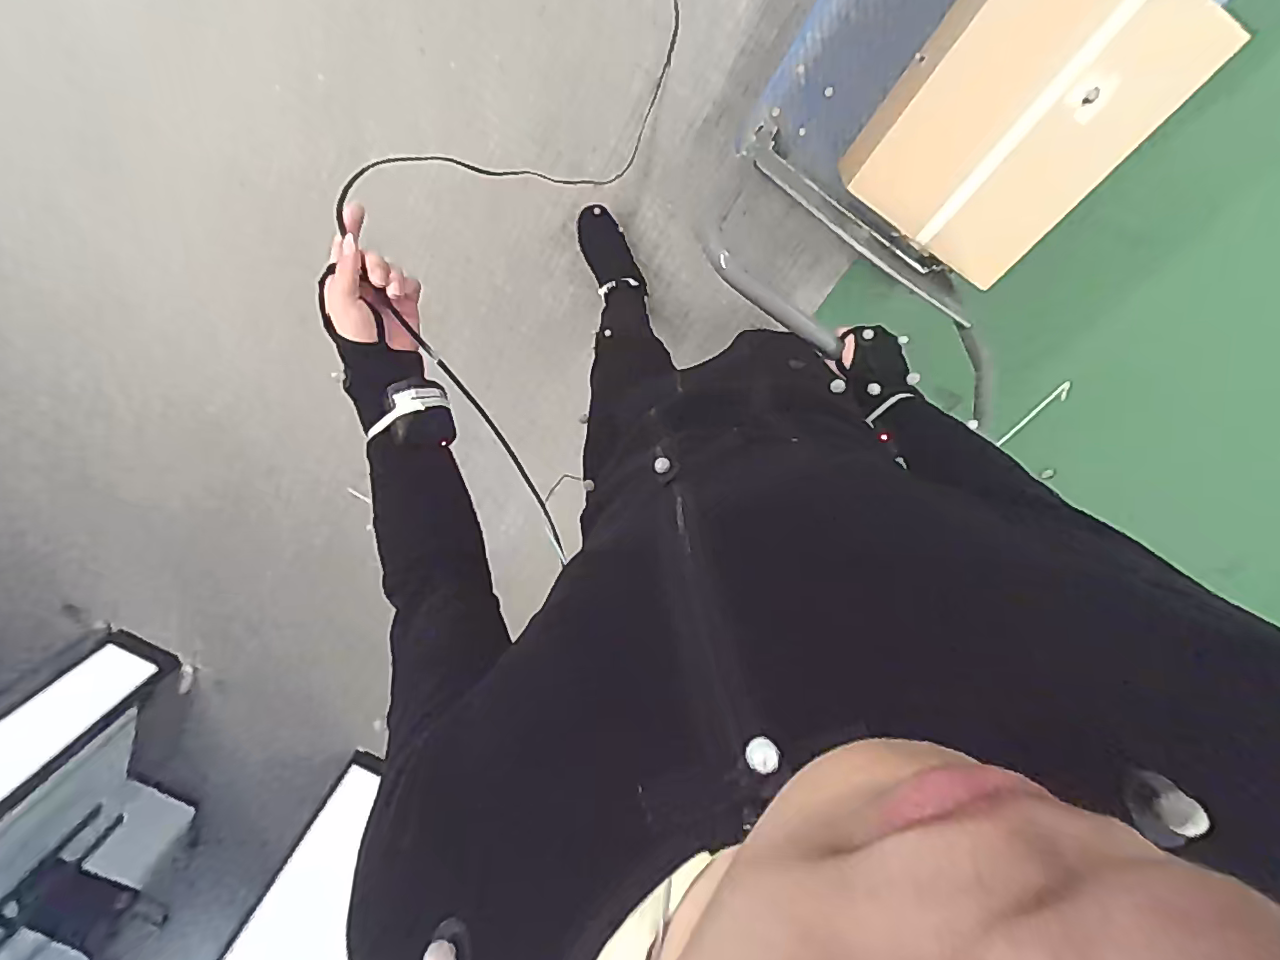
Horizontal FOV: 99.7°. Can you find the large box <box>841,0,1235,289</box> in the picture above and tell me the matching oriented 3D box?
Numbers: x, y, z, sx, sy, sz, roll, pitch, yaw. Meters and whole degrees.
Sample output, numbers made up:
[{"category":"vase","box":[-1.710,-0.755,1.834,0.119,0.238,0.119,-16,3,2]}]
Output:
[{"category":"large box","box":[0.610,-0.622,0.937,0.320,0.320,0.408,32,127,-9]}]
